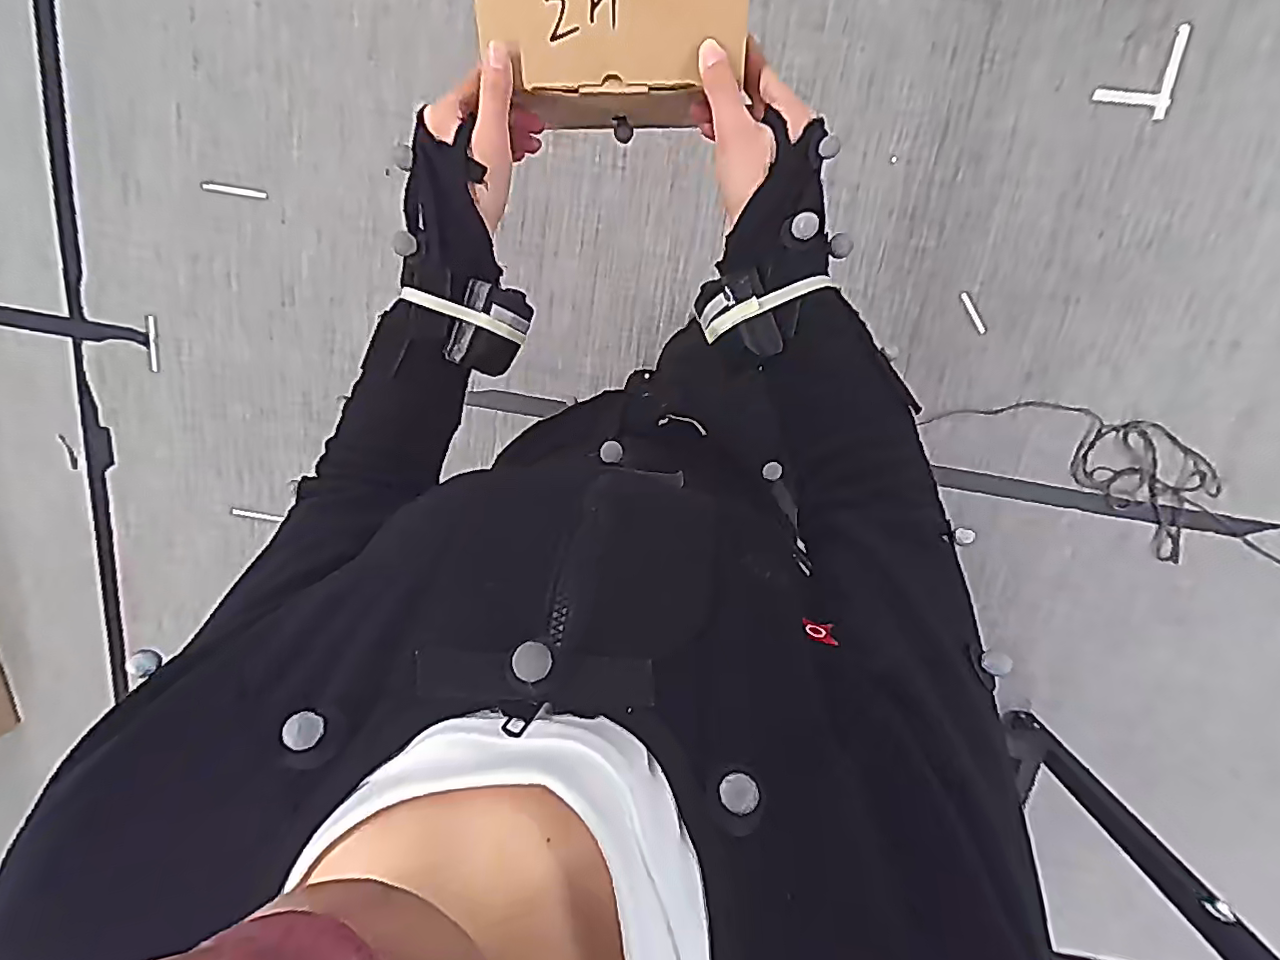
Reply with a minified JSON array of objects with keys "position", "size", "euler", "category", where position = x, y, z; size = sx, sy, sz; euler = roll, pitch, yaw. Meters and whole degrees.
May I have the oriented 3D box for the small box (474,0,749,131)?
[{"position":[-0.015,-0.359,0.373],"size":[0.168,0.176,0.179],"euler":[1,115,2],"category":"small box"}]
